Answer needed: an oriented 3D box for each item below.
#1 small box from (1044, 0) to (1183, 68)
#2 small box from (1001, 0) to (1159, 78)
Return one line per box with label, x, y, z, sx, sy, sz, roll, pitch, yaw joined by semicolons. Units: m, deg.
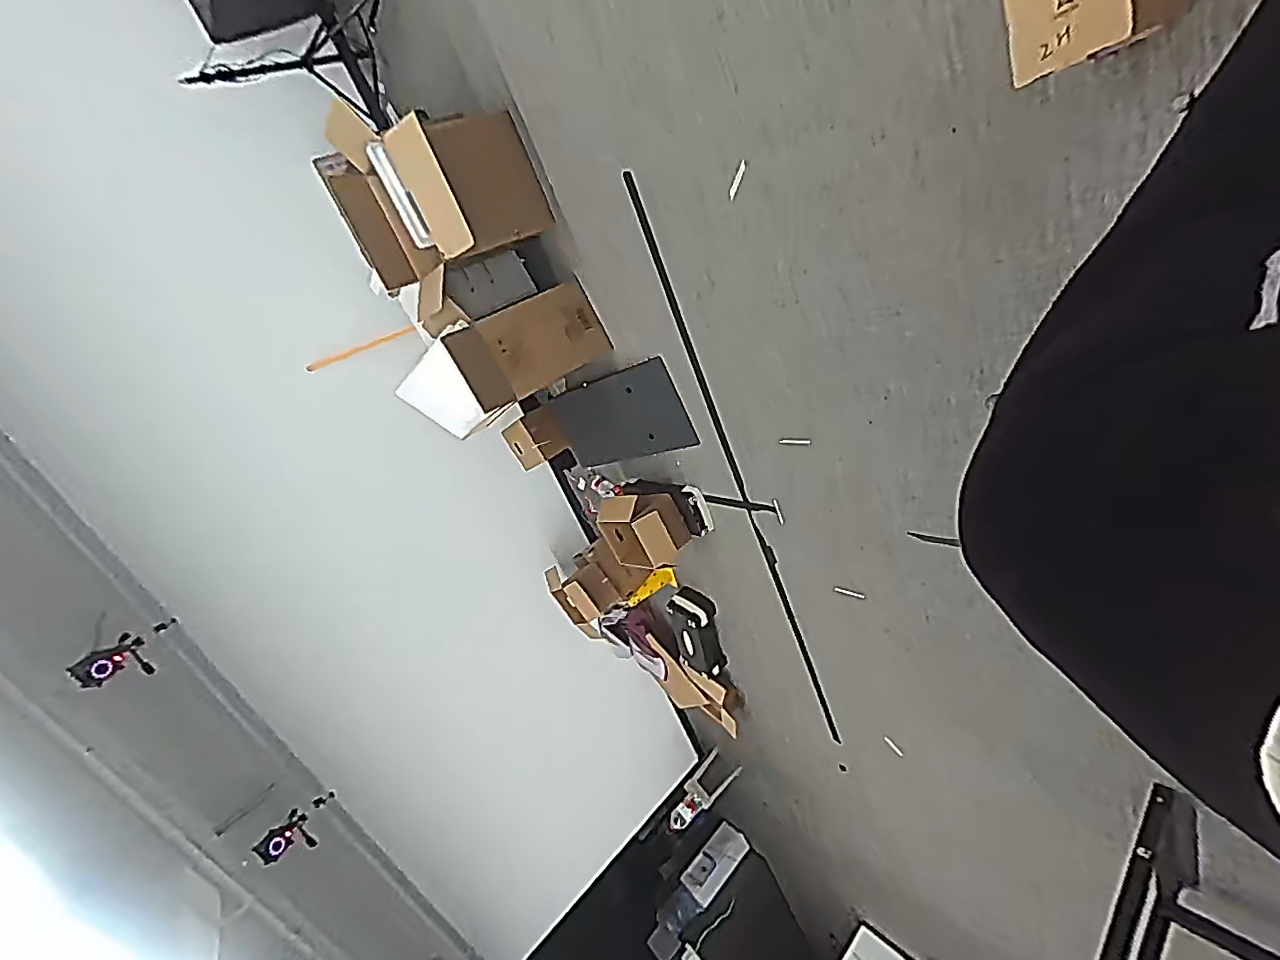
small box;0.853;-0.894;0.980;0.168;0.176;0.179;10;129;55
small box;0.731;-0.818;0.901;0.168;0.176;0.179;10;129;55
